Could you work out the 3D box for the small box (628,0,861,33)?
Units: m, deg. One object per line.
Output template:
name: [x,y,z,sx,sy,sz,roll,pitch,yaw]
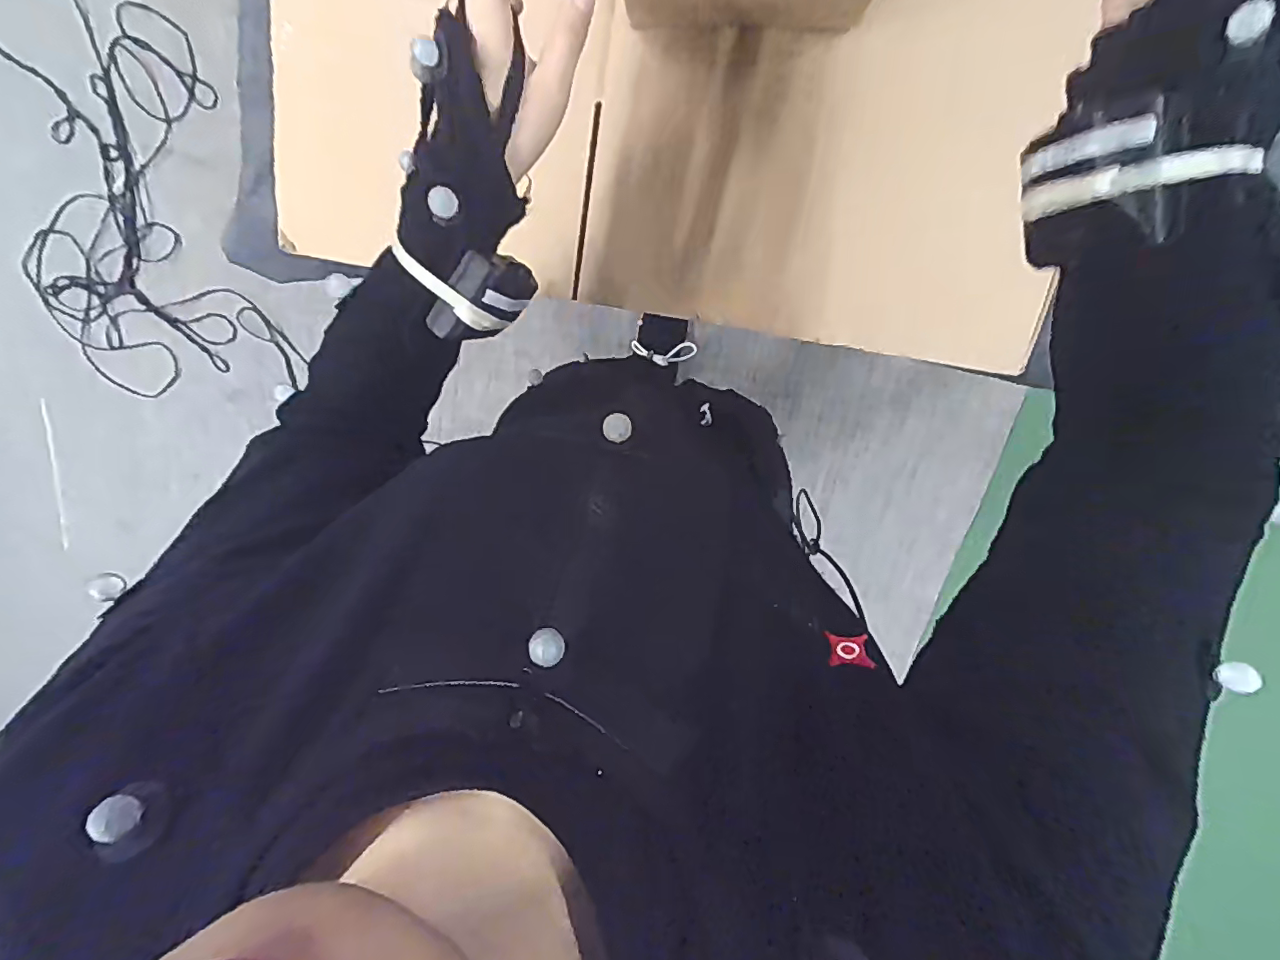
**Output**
small box: [0.075,-0.400,0.313,0.179,0.176,0.168,3,103,5]
